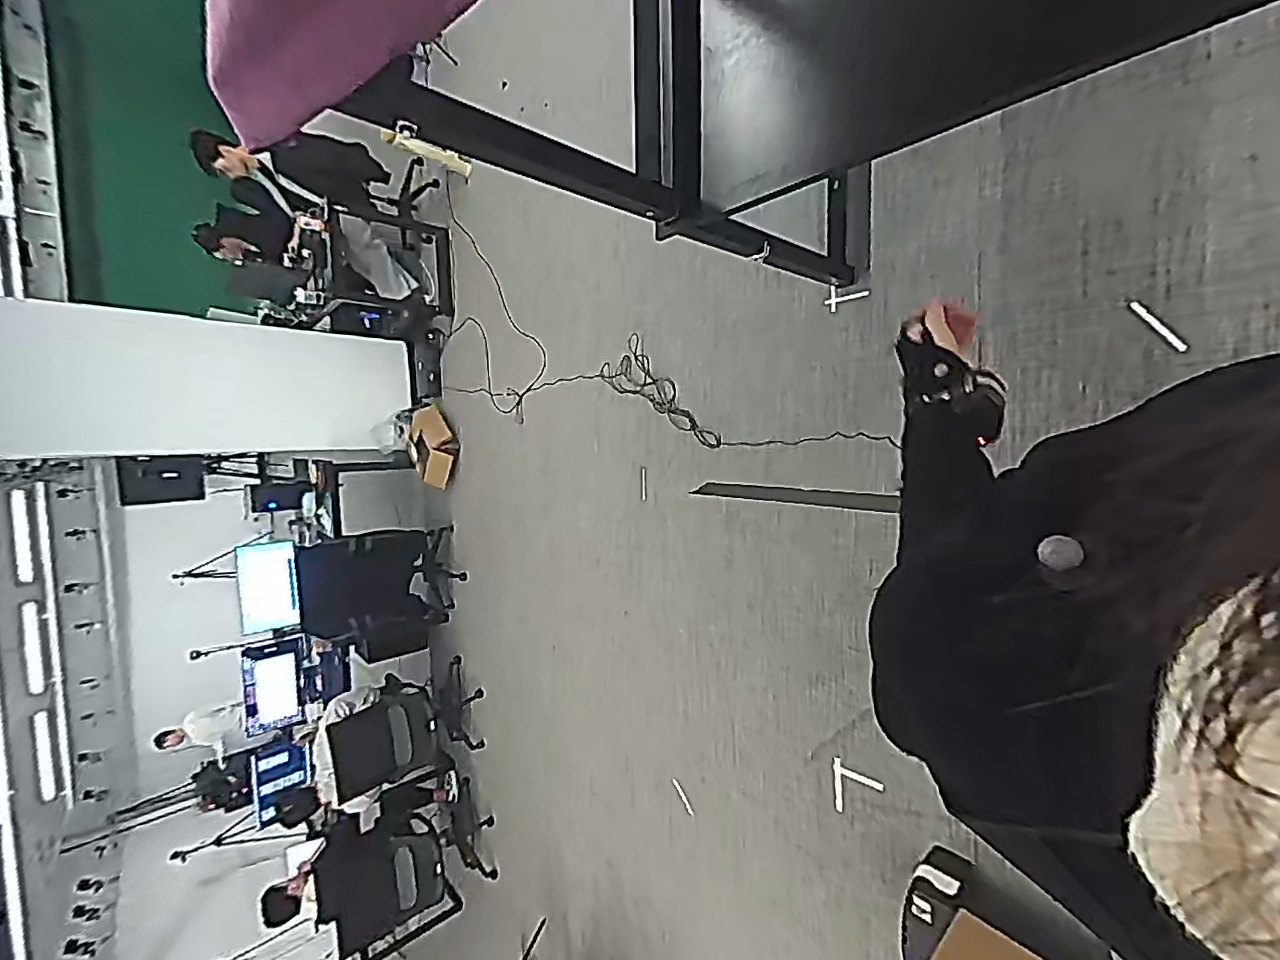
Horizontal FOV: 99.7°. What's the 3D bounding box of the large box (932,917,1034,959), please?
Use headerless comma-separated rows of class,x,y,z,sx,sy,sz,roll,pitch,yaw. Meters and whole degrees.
large box,0.772,1.194,1.045,0.408,0.320,0.320,10,101,47

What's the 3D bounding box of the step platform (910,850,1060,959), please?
step platform,0.969,1.179,1.182,0.684,0.204,0.286,13,103,47
